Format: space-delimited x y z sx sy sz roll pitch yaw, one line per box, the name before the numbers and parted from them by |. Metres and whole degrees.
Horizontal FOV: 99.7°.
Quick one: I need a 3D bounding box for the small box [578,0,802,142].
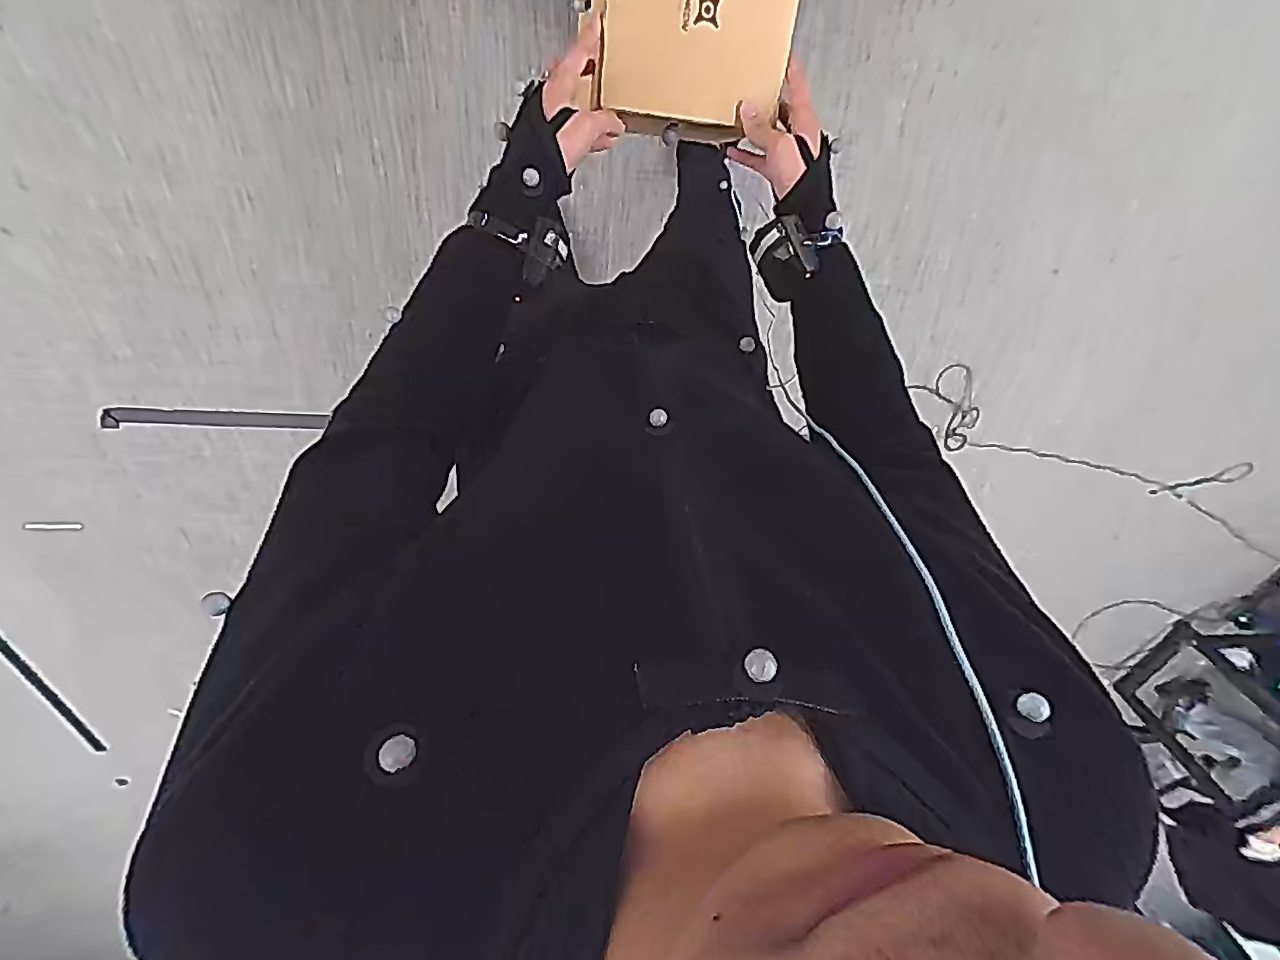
small box | 0.039 -0.440 0.532 0.179 0.176 0.168 -1 119 -13
